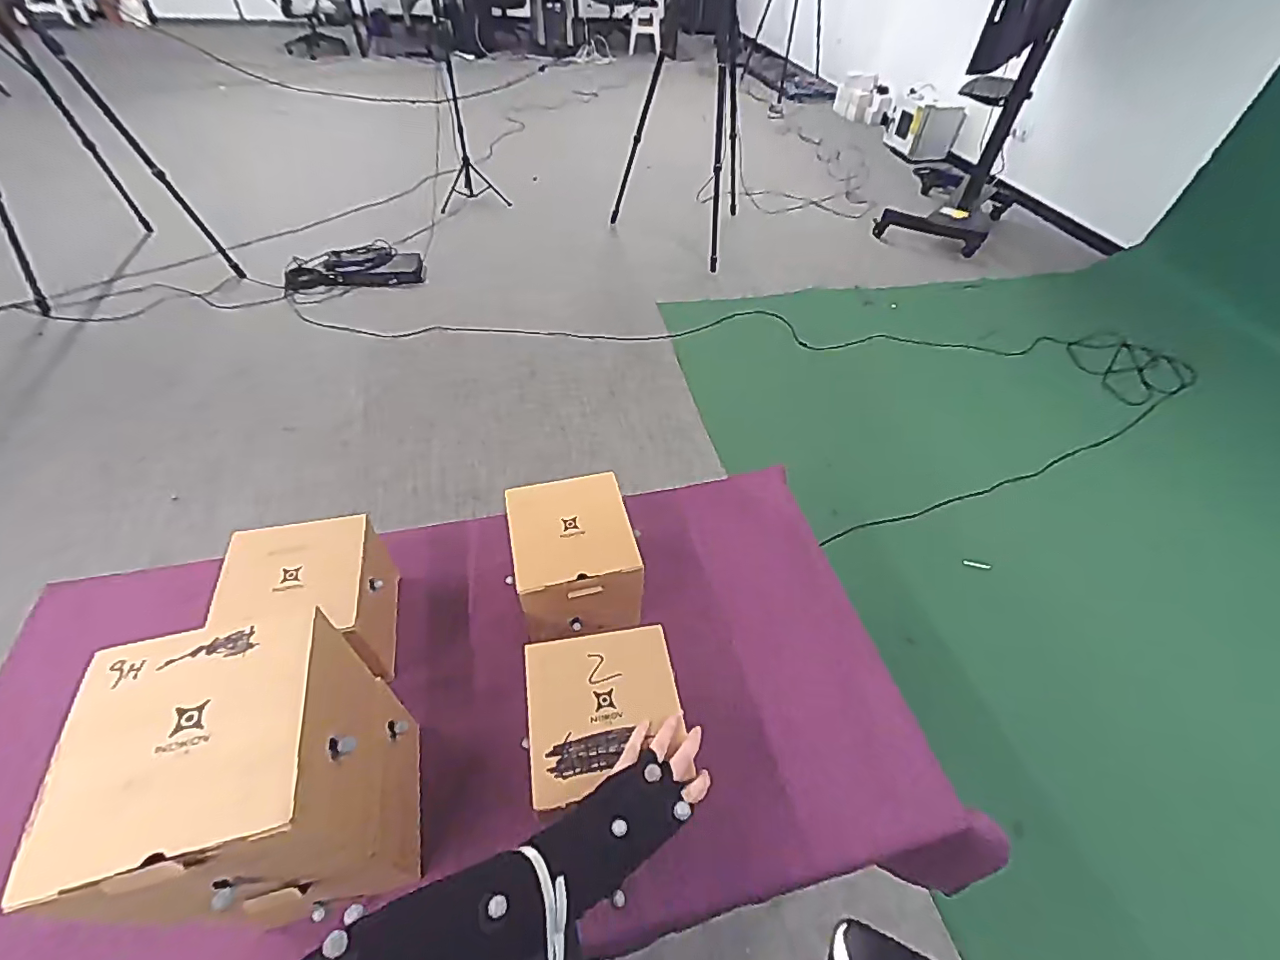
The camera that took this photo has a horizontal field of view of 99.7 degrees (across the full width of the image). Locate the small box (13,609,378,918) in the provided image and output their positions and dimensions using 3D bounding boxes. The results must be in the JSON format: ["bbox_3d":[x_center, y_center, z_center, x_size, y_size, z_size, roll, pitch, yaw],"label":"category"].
[{"bbox_3d":[-0.337,0.242,0.462,0.168,0.176,0.179,-11,50,-13],"label":"small box"}]

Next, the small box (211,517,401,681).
[{"bbox_3d":[-0.434,0.178,0.735,0.168,0.176,0.179,-8,49,-12],"label":"small box"}]

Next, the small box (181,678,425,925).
[{"bbox_3d":[-0.341,0.348,0.588,0.168,0.176,0.179,-11,50,-12],"label":"small box"}]

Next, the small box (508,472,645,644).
[{"bbox_3d":[-0.098,0.117,0.808,0.168,0.176,0.179,-11,51,-12],"label":"small box"}]
